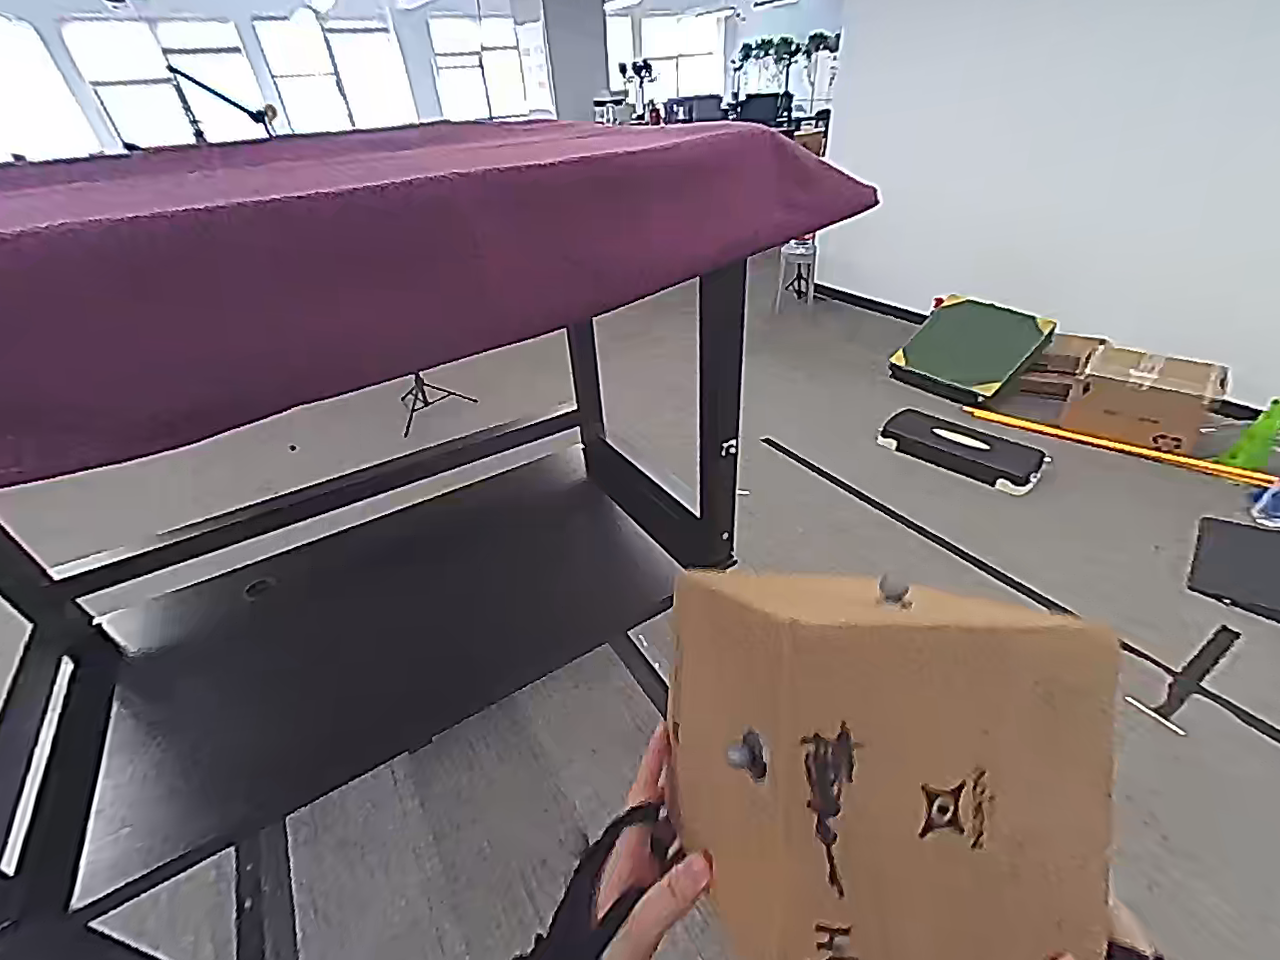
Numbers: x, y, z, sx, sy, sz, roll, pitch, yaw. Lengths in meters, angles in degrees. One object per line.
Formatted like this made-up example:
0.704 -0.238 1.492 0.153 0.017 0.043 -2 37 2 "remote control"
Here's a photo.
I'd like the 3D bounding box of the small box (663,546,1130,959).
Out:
0.124 0.128 0.311 0.179 0.168 0.176 4 -3 -13 "small box"
